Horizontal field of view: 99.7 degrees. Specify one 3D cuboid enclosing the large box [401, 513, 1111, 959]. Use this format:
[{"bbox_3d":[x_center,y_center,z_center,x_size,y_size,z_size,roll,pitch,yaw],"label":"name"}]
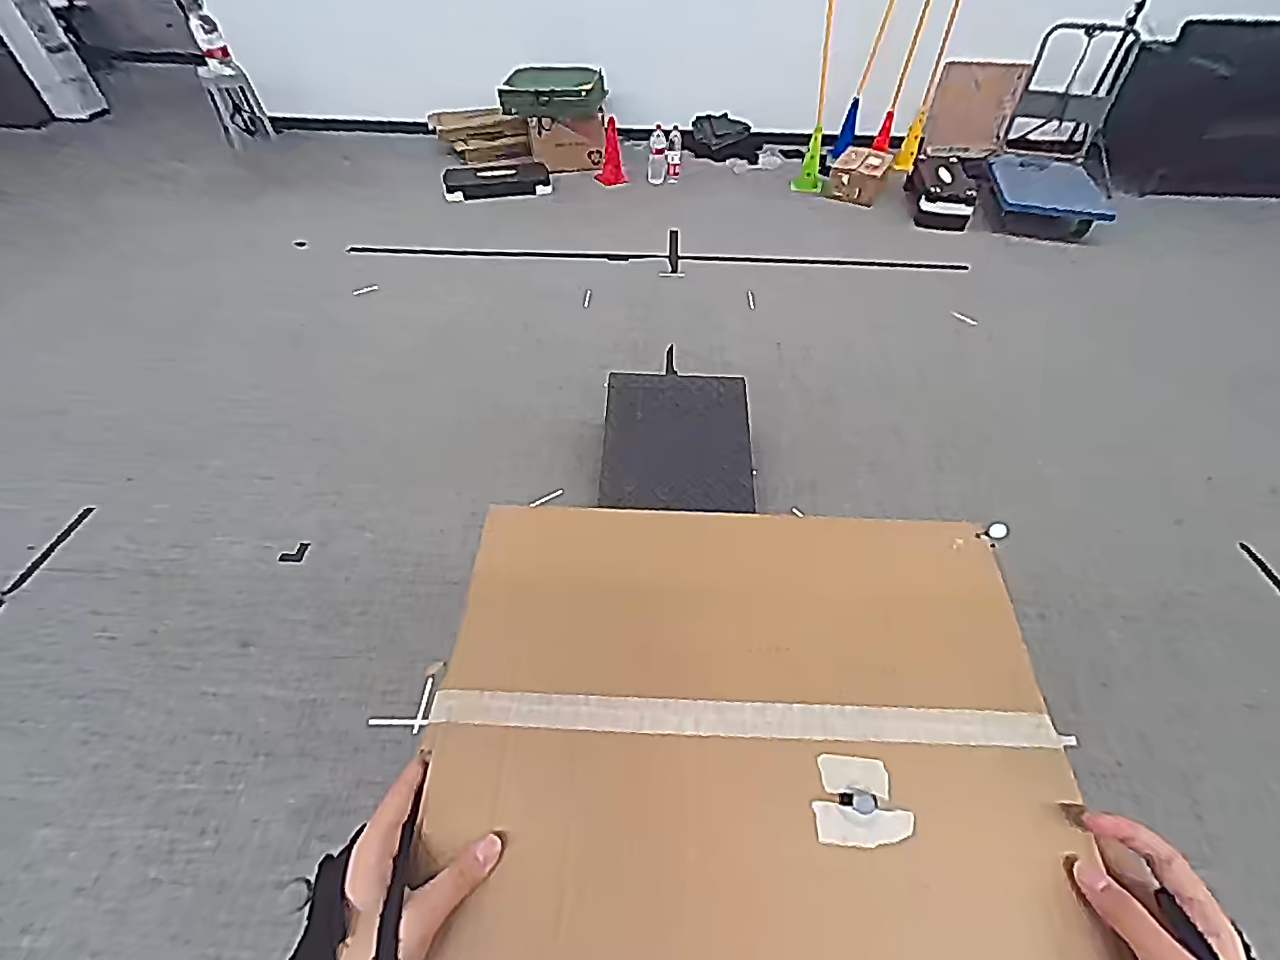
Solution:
[{"bbox_3d":[0.067,0.242,0.495,0.408,0.320,0.320,2,58,2],"label":"large box"}]
